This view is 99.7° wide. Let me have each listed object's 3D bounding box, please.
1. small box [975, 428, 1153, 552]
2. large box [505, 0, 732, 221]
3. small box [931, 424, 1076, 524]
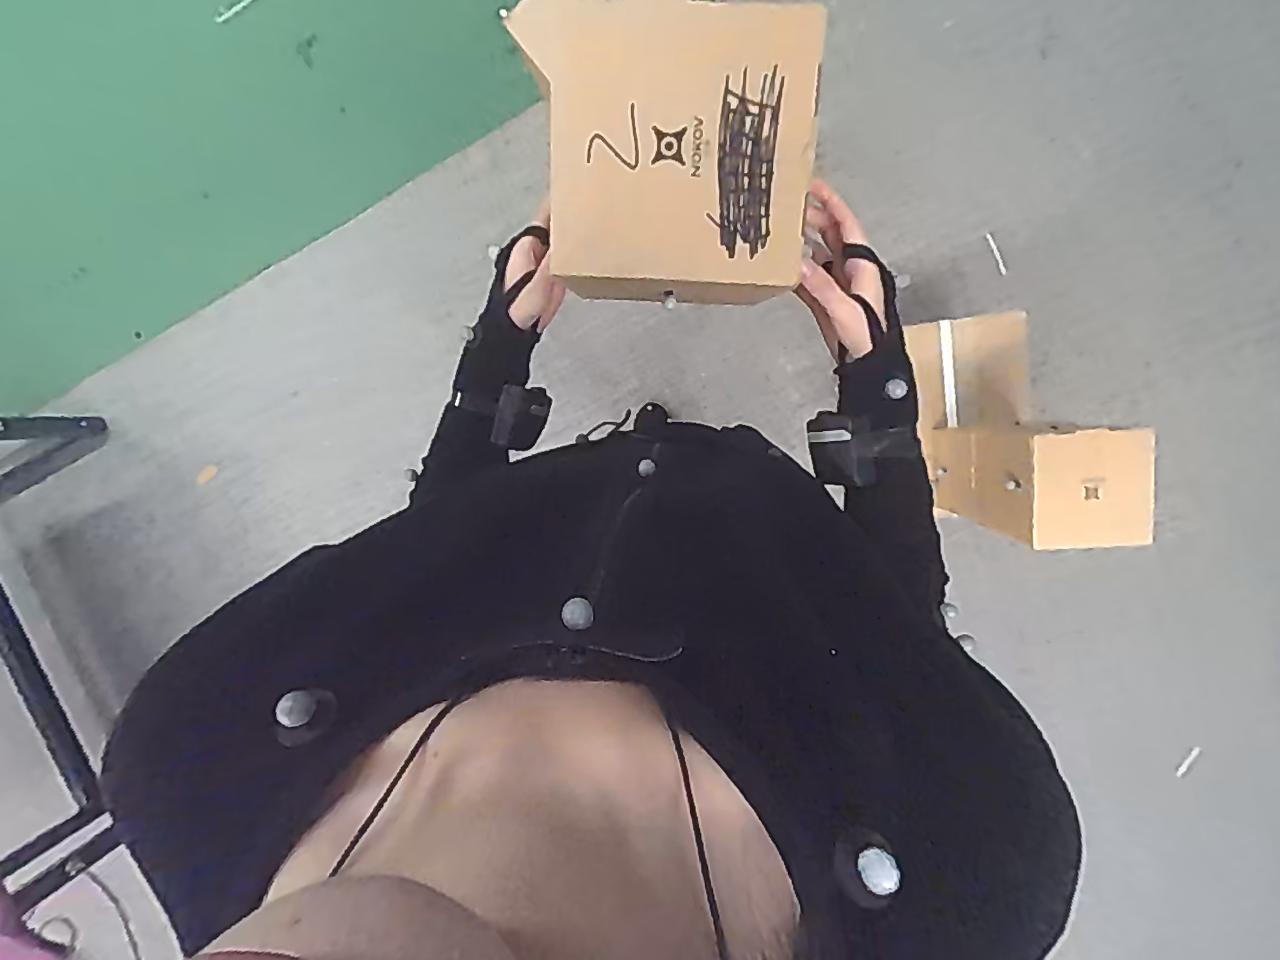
[{"bbox_3d":[0.666,0.009,0.870,0.168,0.176,0.179,-4,95,6],"label":"small box"},{"bbox_3d":[-0.027,-0.912,1.270,0.320,0.320,0.408,-38,89,9],"label":"large box"},{"bbox_3d":[0.683,-0.017,1.029,0.179,0.176,0.168,-5,95,7],"label":"small box"}]
